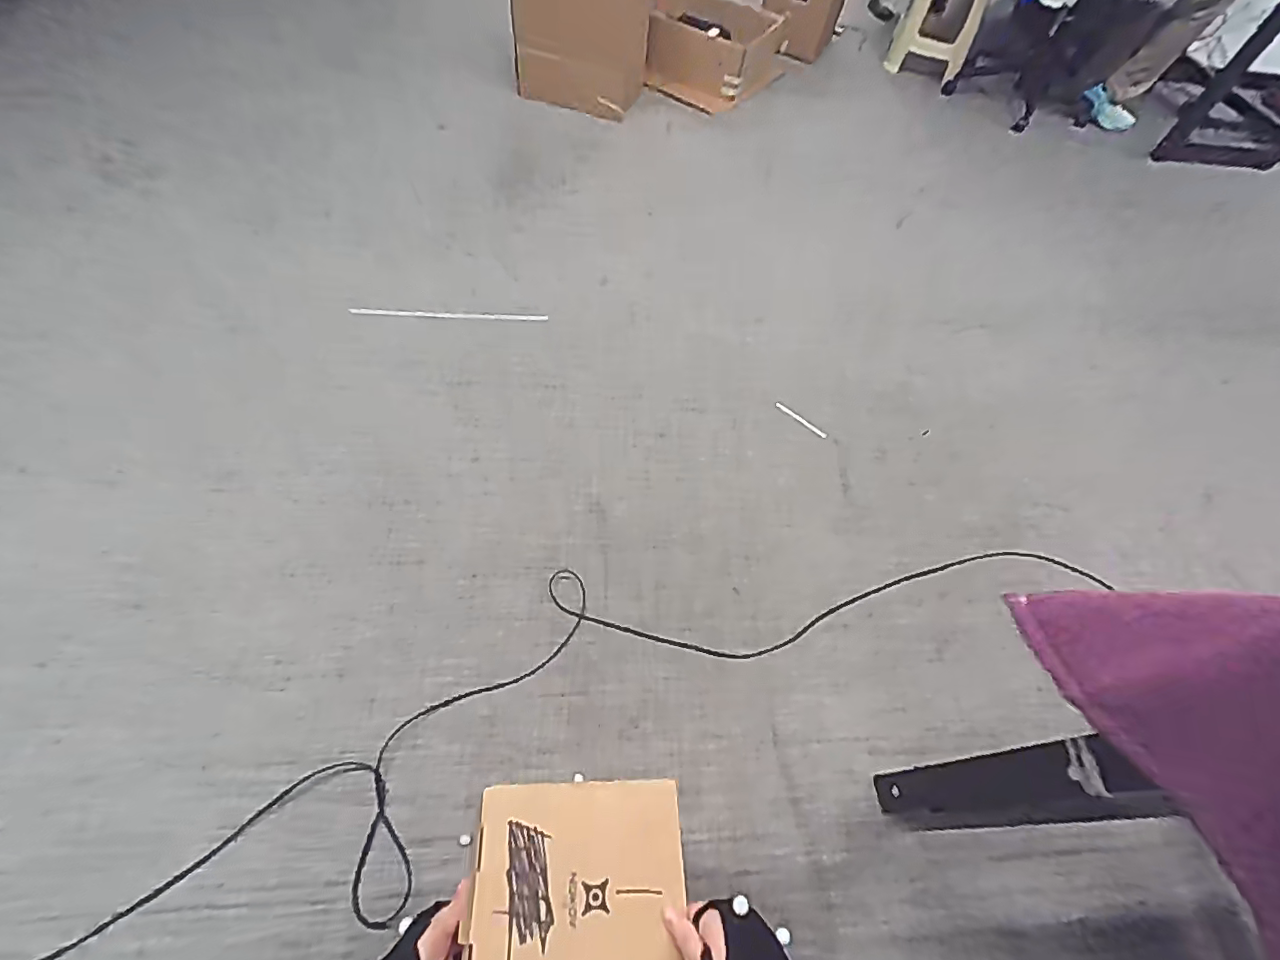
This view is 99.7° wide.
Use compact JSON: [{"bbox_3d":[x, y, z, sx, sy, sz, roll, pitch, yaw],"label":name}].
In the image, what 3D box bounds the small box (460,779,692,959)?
[{"bbox_3d":[-0.067,0.379,0.494,0.179,0.176,0.168,7,54,-16],"label":"small box"}]
